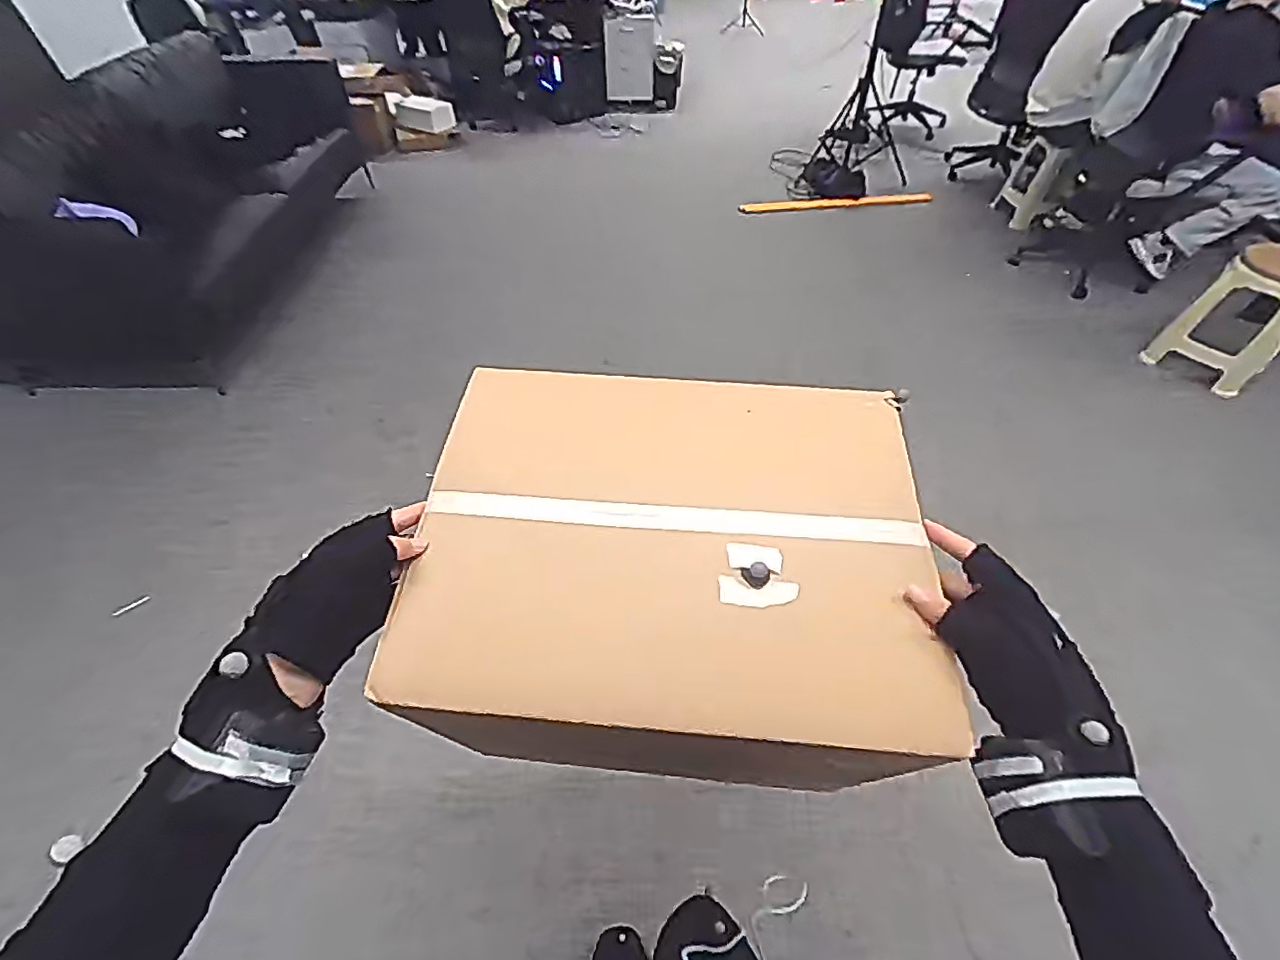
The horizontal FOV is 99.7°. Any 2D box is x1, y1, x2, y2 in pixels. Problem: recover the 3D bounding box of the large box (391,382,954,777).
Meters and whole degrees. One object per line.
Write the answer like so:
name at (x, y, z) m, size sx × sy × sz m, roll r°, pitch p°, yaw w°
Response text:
large box at (0.029, 0.118, 0.580) m, size 0.408 × 0.320 × 0.320 m, roll 4°, pitch 57°, yaw 3°
